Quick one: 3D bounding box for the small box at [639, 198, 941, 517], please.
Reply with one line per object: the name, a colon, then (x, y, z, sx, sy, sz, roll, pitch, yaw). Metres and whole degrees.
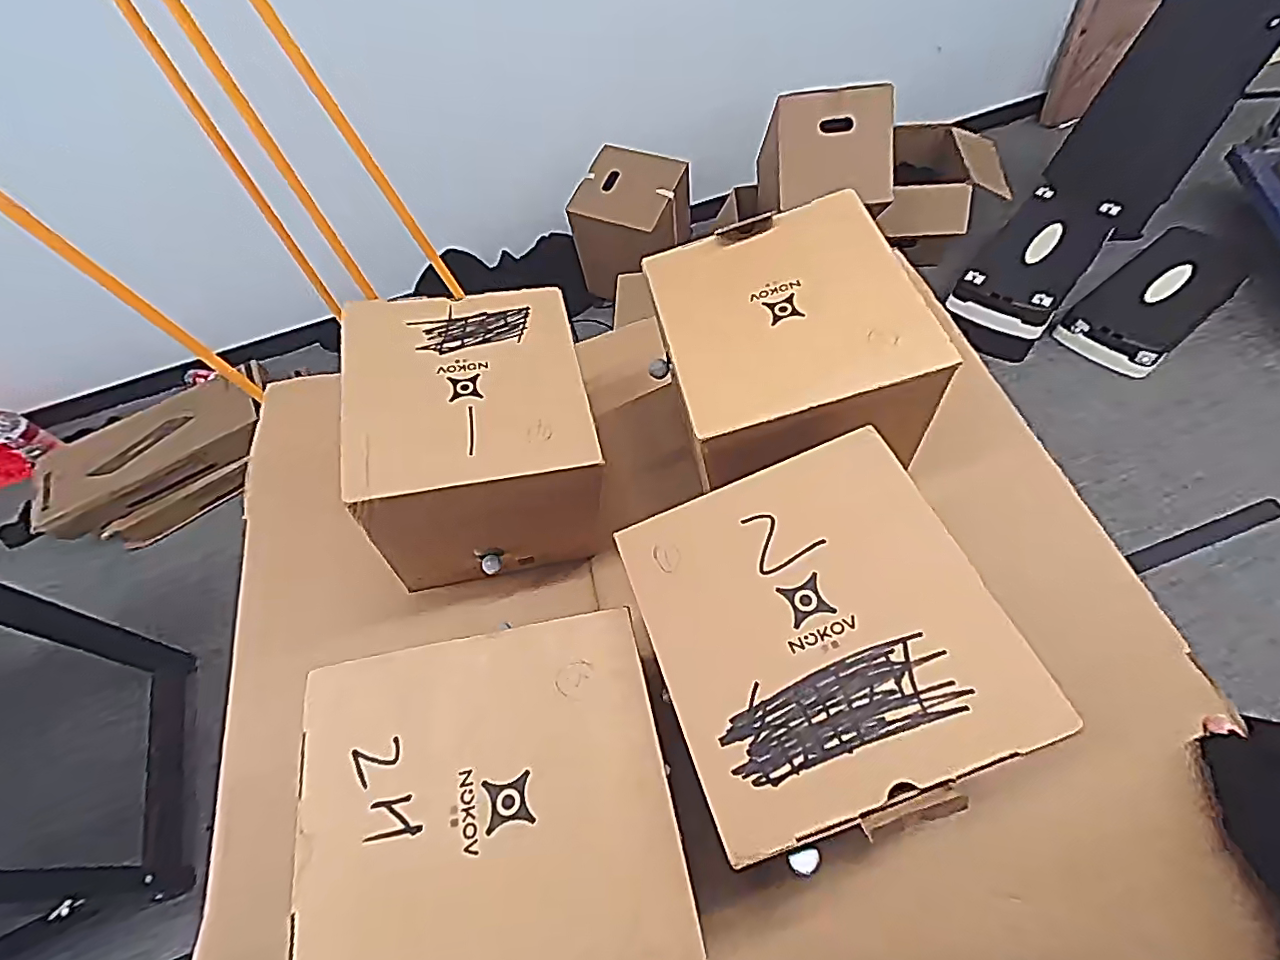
small box: (0.111, -0.083, 0.447, 0.168, 0.176, 0.179, -16, 60, 6)
